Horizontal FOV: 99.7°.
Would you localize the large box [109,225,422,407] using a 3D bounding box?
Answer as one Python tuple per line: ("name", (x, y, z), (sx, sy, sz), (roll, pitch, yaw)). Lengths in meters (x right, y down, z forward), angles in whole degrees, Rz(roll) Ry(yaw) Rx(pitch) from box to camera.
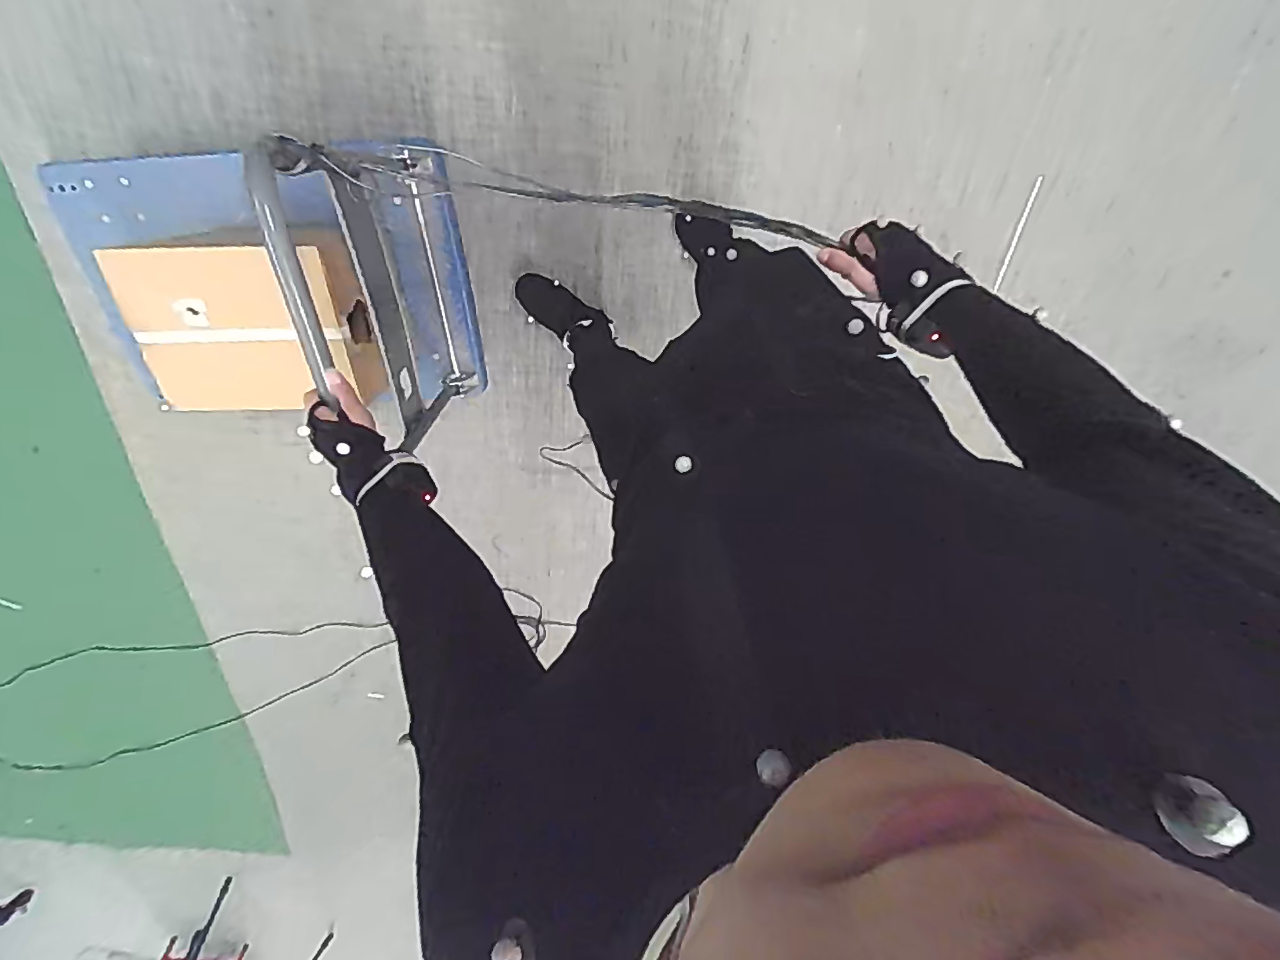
("large box", (-0.753, -0.362, 1.169), (0.408, 0.320, 0.320), (0, 120, 1))
